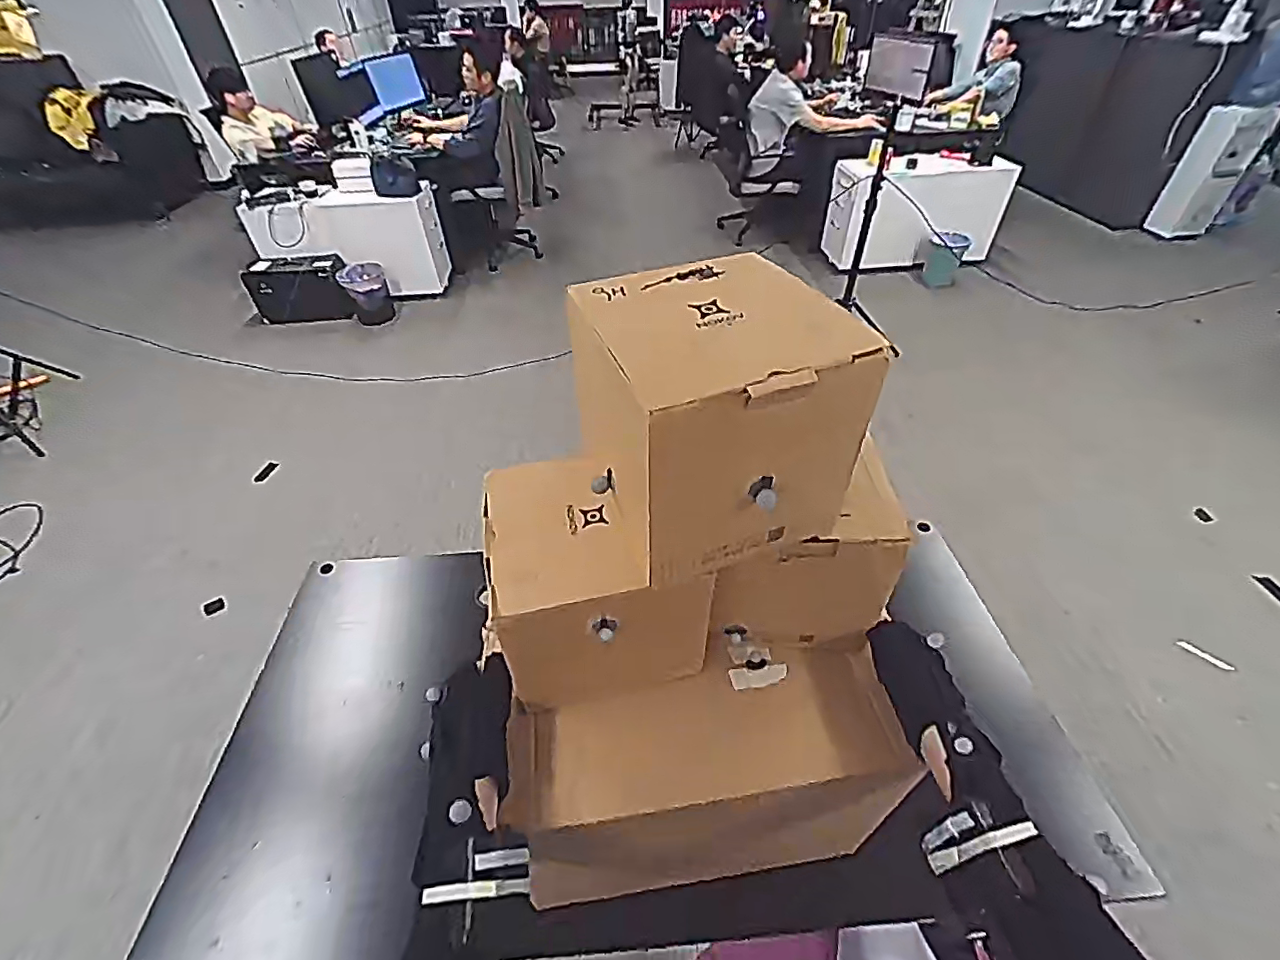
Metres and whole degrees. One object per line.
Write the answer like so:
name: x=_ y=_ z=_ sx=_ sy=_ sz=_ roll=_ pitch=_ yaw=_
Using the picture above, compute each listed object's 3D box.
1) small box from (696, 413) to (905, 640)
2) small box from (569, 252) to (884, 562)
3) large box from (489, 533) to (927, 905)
small box: x=0.144 y=0.047 z=0.556 sx=0.168 sy=0.176 sz=0.179 roll=1 pitch=42 yaw=3
small box: x=0.052 y=-0.056 z=0.431 sx=0.168 sy=0.176 sz=0.179 roll=-15 pitch=45 yaw=-14
large box: x=0.045 y=0.274 z=0.674 sx=0.408 sy=0.320 sz=0.320 roll=-7 pitch=44 yaw=-6
